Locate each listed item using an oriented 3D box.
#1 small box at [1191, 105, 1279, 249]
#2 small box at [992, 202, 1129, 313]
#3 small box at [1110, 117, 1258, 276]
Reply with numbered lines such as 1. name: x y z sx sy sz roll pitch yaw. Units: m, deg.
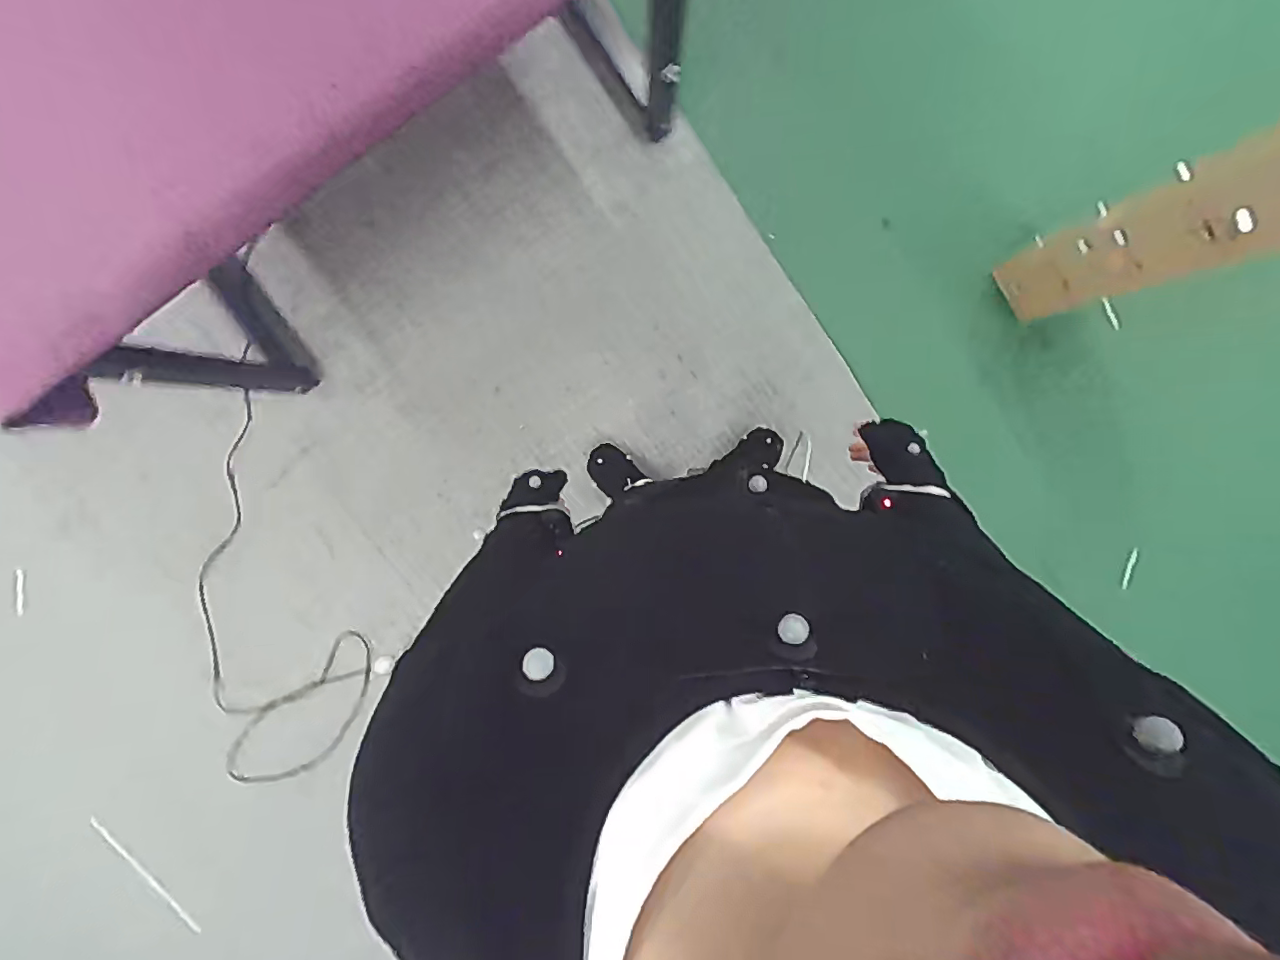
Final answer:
1. small box: 1.056 -0.505 0.853 0.179 0.176 0.168 -42 95 4
2. small box: 1.034 -0.544 1.345 0.179 0.176 0.168 -35 96 4
3. small box: 1.048 -0.516 1.017 0.179 0.176 0.168 -41 96 3
